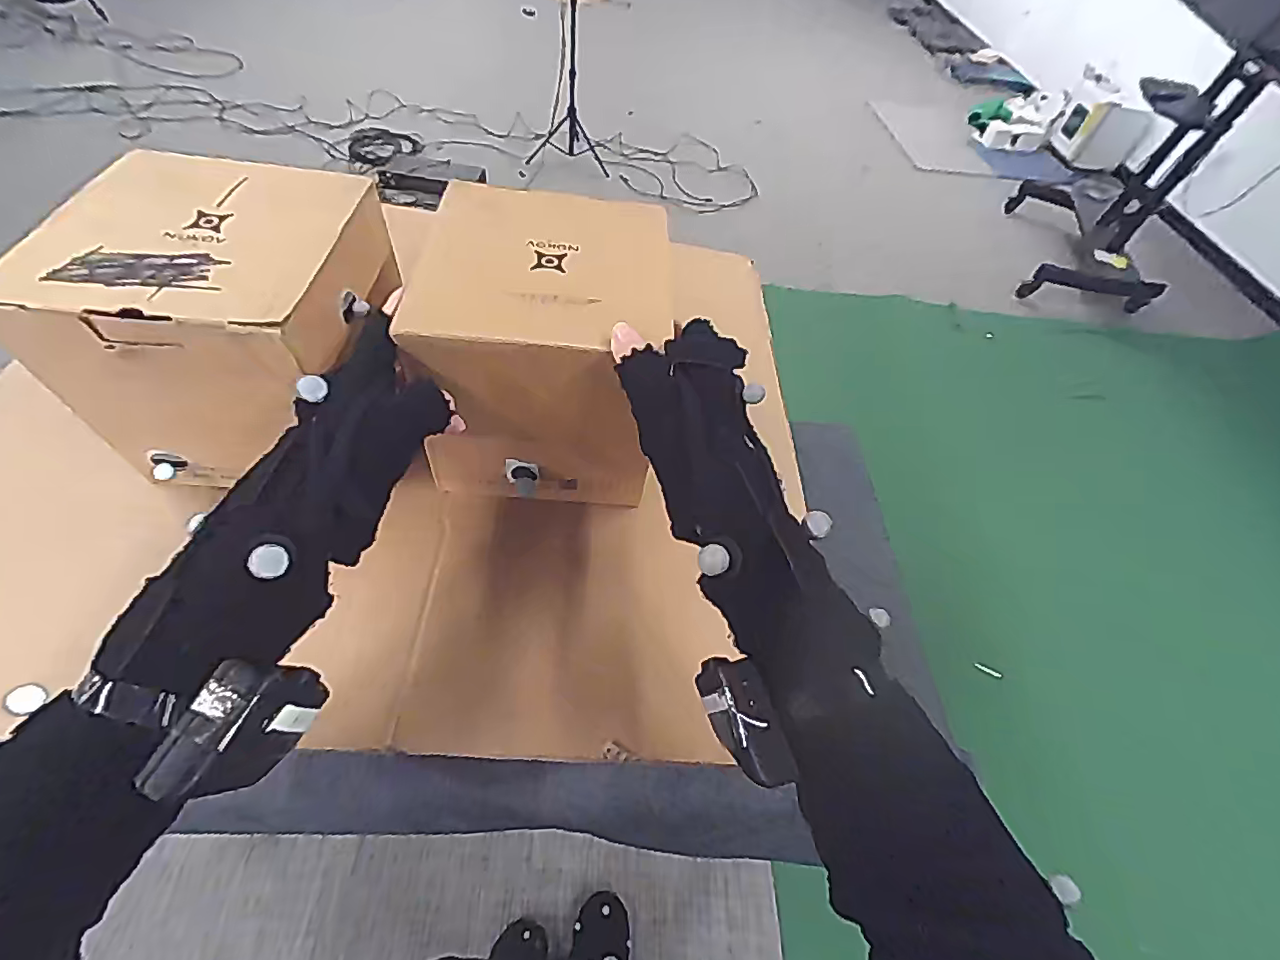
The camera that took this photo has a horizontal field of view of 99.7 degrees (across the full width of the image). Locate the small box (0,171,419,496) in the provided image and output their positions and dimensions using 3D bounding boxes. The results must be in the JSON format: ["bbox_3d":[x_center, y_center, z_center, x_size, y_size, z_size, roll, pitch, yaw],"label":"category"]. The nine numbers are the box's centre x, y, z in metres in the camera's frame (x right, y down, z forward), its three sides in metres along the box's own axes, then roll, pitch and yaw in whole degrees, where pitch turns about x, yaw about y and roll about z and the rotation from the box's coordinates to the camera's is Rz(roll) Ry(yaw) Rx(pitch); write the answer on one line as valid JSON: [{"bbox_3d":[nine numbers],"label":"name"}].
[{"bbox_3d":[-0.287,-0.104,0.417,0.168,0.176,0.179,4,53,-5],"label":"small box"}]
